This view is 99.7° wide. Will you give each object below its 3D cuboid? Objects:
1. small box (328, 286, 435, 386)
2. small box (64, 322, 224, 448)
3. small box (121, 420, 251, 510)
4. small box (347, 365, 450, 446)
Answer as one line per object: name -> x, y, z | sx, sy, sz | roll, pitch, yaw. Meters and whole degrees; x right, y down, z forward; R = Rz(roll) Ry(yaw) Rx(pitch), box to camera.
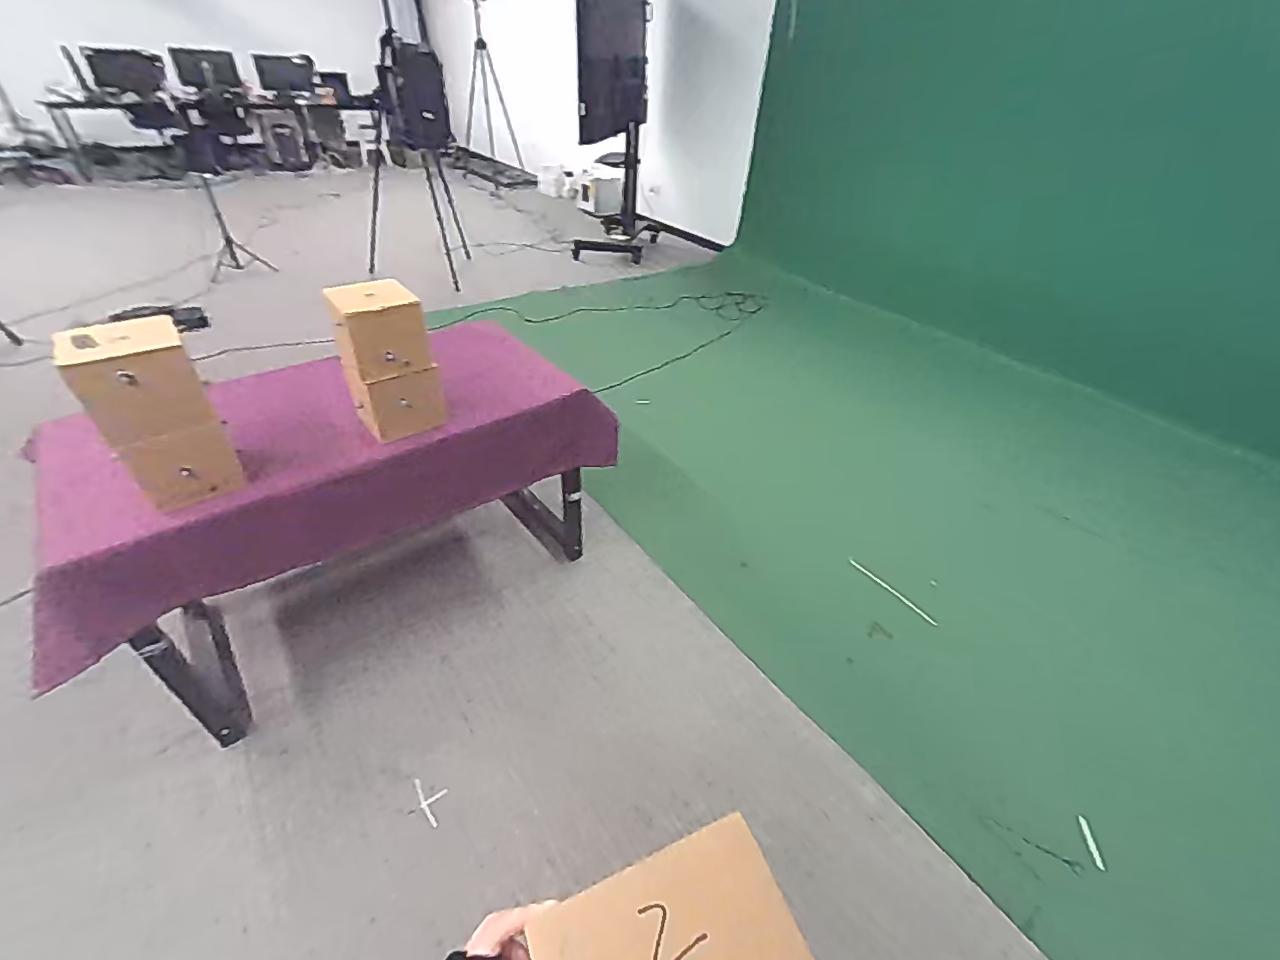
small box -> -0.608, -0.342, 1.281 | 0.168, 0.176, 0.179 | -24, 46, -32
small box -> -0.952, -0.185, 1.046 | 0.179, 0.176, 0.168 | -25, 46, -33
small box -> -0.960, -0.056, 1.148 | 0.168, 0.176, 0.179 | -24, 45, -32
small box -> -0.610, -0.211, 1.379 | 0.179, 0.176, 0.168 | -26, 47, -32
